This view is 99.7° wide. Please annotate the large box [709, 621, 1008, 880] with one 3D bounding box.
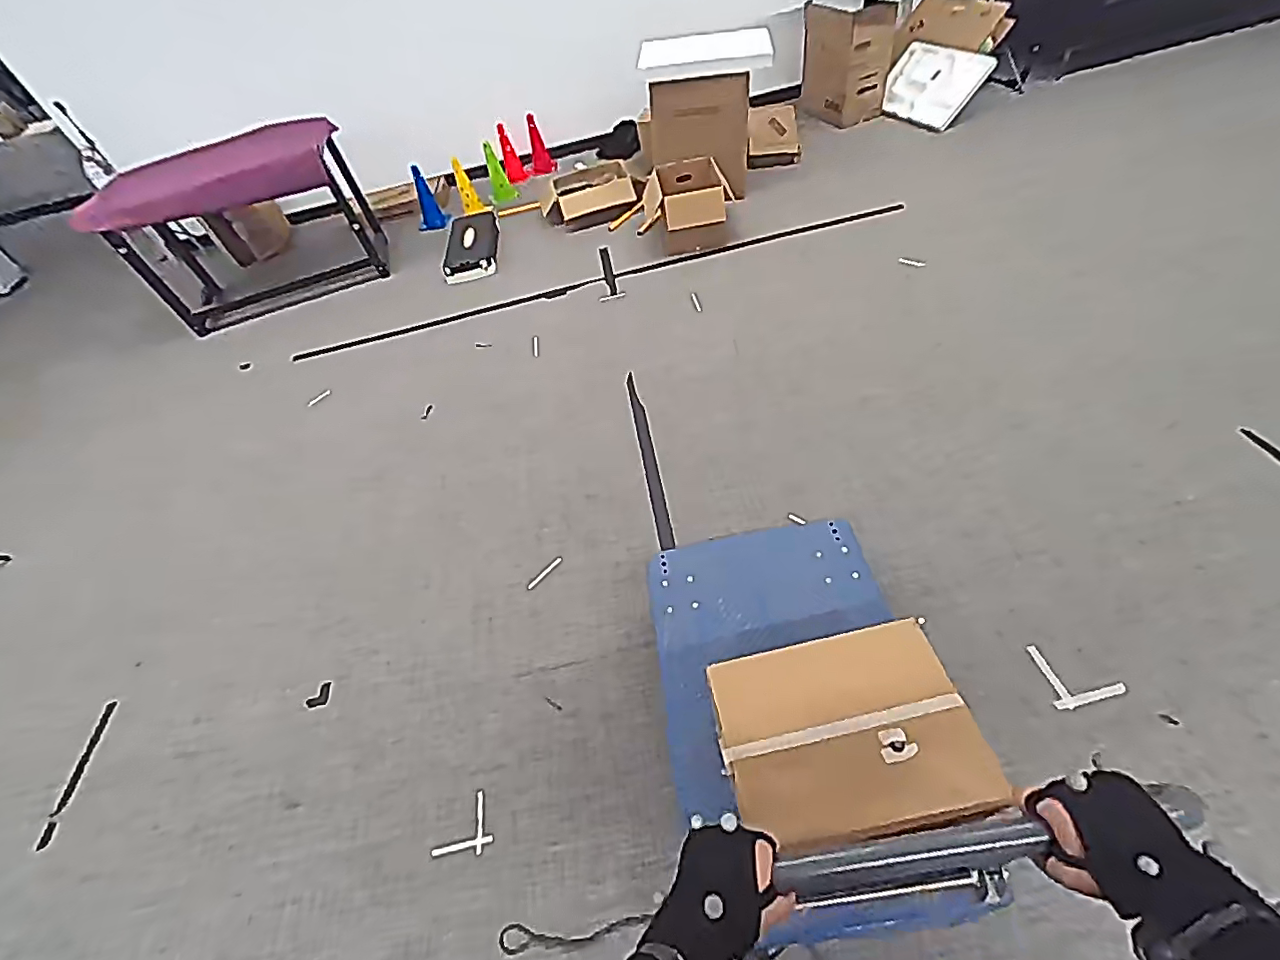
[{"bbox_3d":[0.369,0.521,1.035,0.408,0.320,0.320,-13,49,-1],"label":"large box"}]
